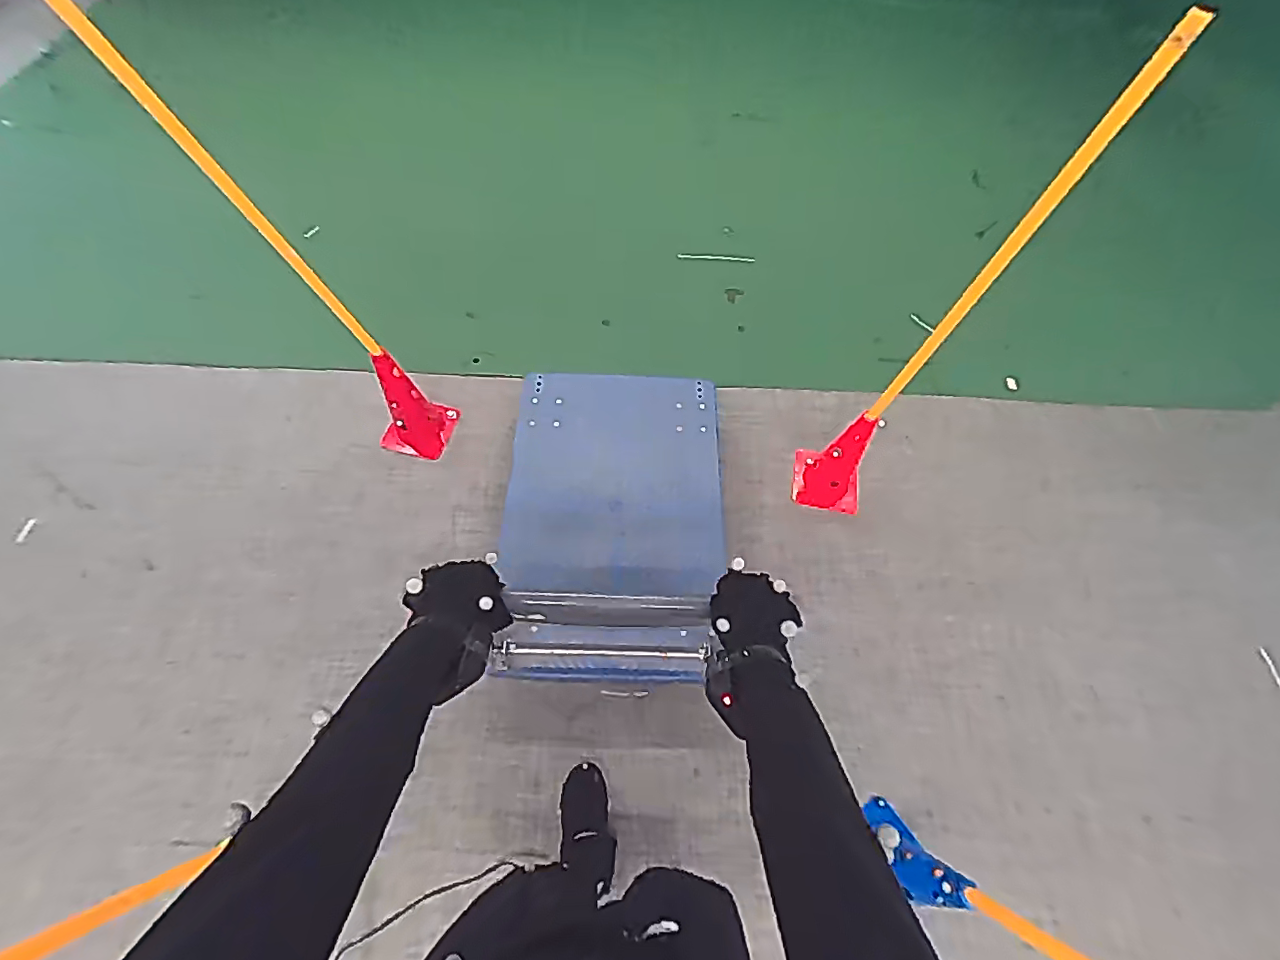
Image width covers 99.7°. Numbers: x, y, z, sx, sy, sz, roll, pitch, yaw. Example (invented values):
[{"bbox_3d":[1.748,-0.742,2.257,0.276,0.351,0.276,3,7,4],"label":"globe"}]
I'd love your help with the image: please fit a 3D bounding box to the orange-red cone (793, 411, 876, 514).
[{"bbox_3d":[0.582,-0.075,1.529,0.198,0.360,0.199,12,62,5],"label":"orange-red cone"}]
